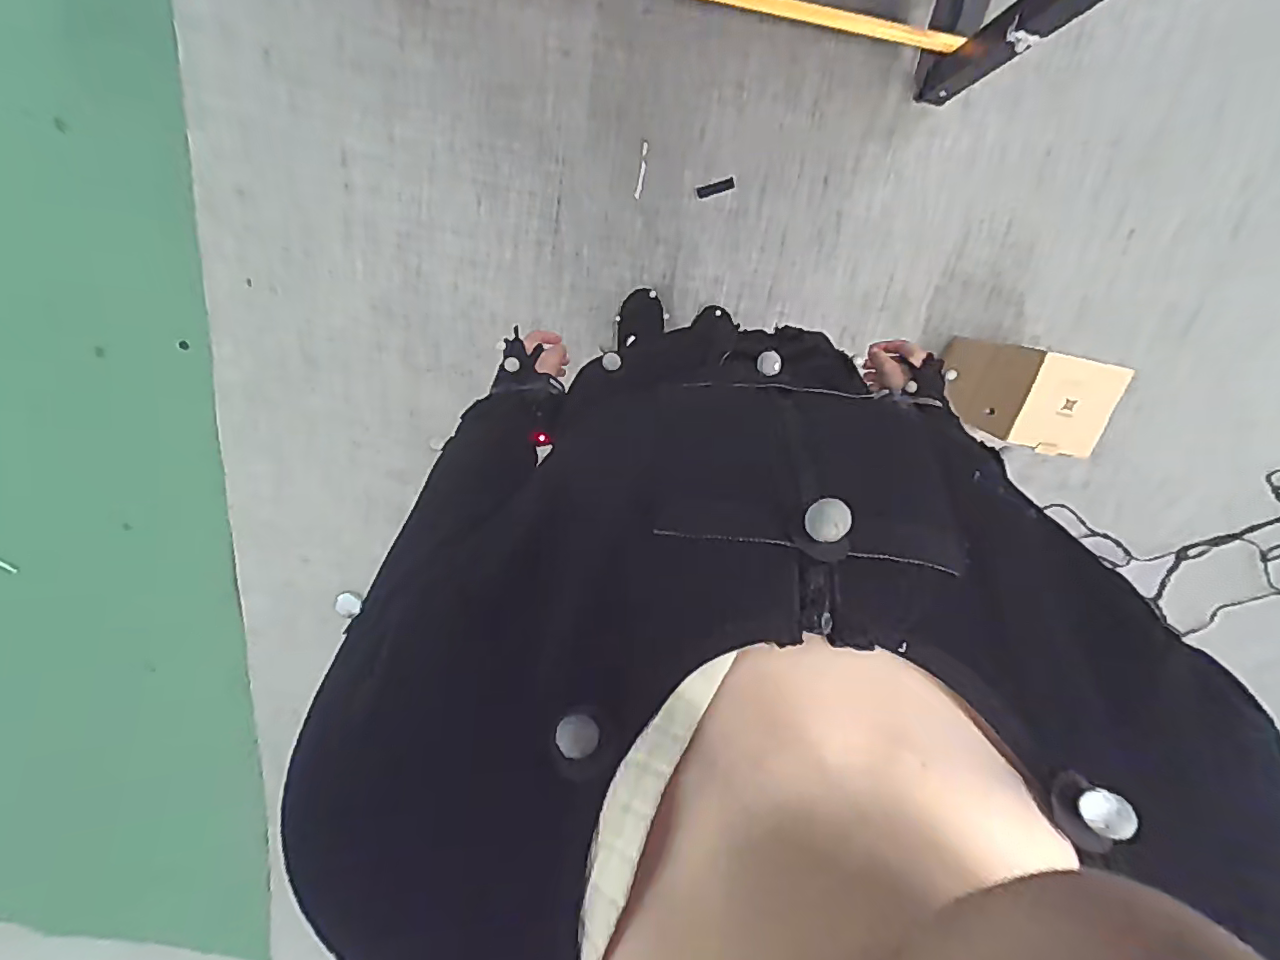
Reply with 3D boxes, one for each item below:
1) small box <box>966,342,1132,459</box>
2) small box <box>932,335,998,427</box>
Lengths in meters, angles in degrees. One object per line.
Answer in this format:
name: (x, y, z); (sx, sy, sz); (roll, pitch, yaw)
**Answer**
small box: (0.779, -0.161, 1.056); (0.168, 0.176, 0.179); (11, 109, -3)
small box: (0.789, -0.213, 1.211); (0.168, 0.176, 0.179); (13, 111, -3)
